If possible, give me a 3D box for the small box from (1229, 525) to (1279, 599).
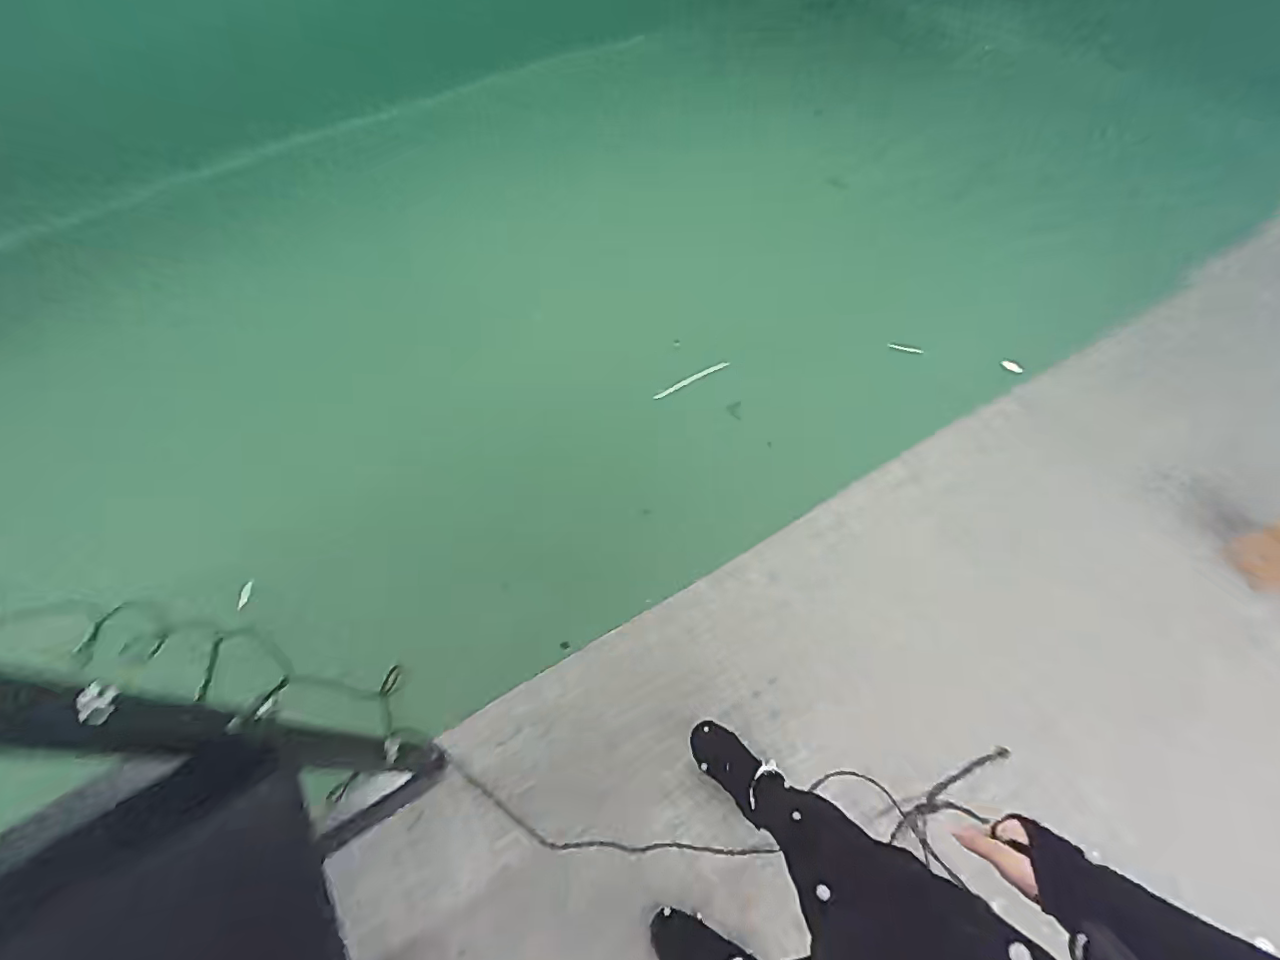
[{"bbox_3d":[1.818,0.222,1.501,0.179,0.176,0.168,-9,62,-4],"label":"small box"}]
